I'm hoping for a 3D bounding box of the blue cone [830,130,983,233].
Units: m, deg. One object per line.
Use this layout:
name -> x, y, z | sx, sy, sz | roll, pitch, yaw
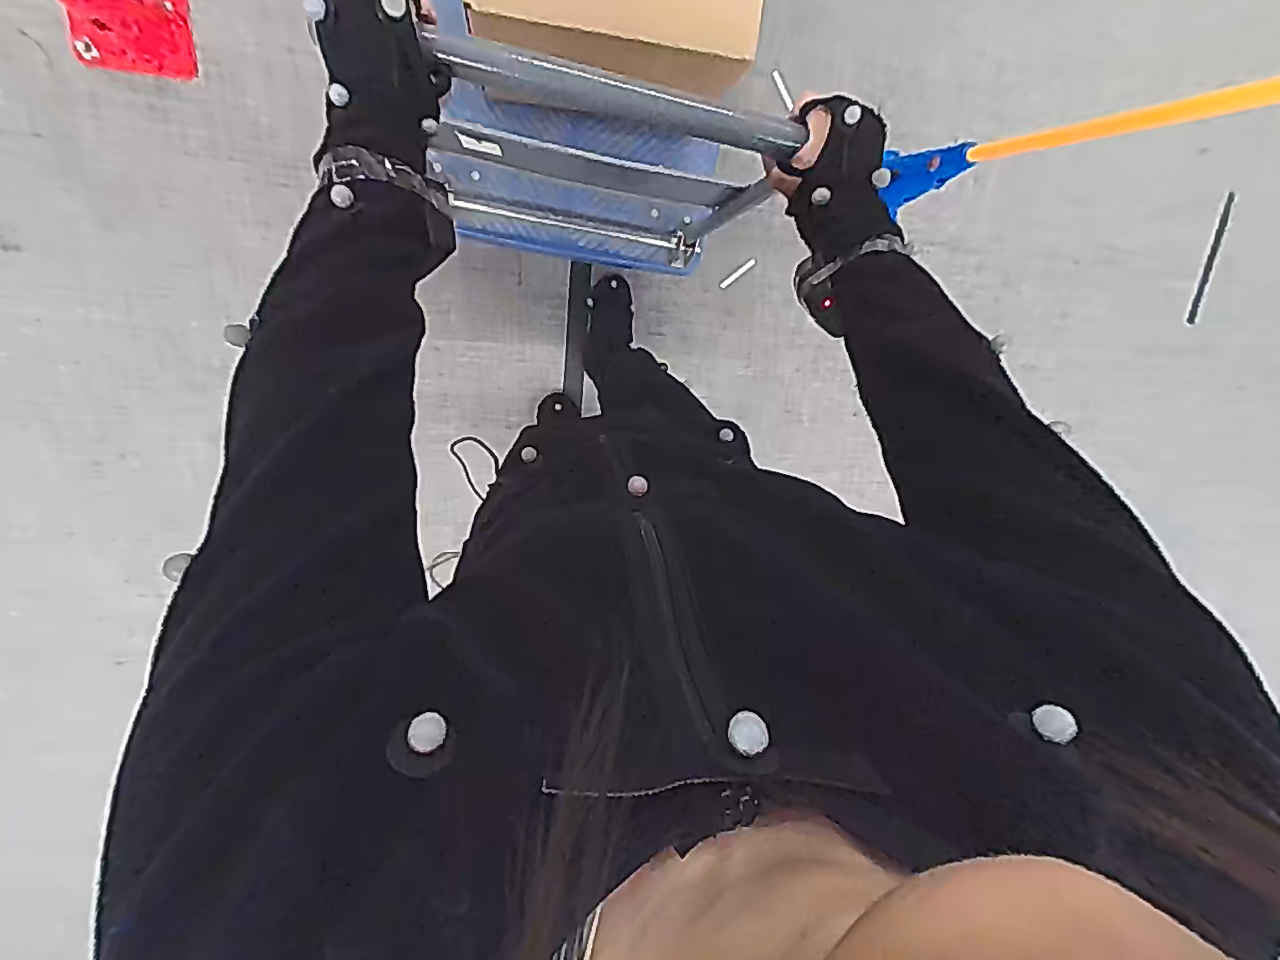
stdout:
blue cone -> 0.593, -0.675, 1.189 | 0.193, 0.380, 0.192 | -2, 106, -11
